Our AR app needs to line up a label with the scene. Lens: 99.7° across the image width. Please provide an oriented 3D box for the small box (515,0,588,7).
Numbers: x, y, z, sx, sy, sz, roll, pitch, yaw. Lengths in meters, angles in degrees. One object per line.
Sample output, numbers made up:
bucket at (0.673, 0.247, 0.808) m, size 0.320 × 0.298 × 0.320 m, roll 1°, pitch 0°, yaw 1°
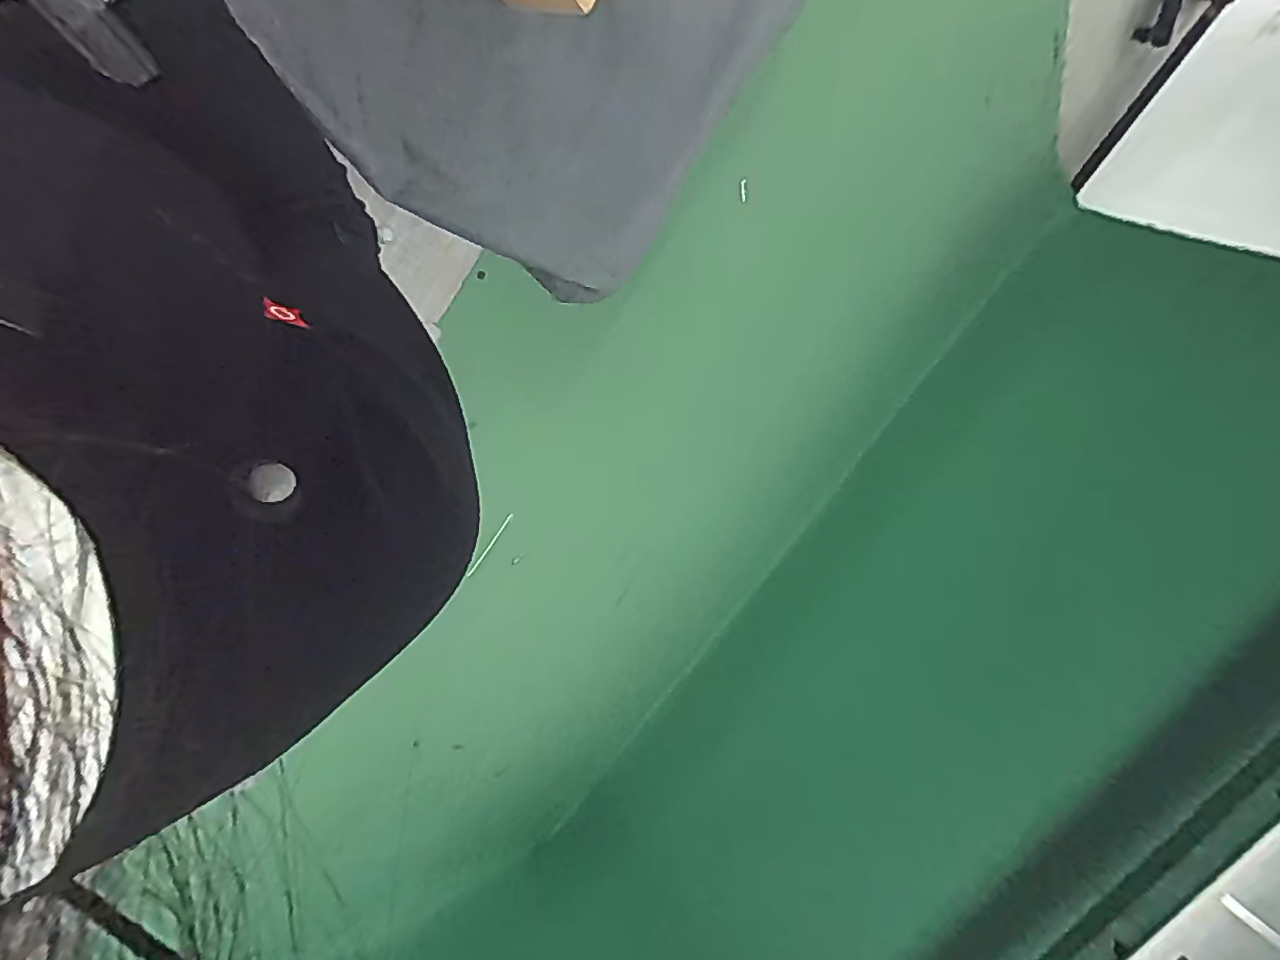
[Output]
small box at (-0.101, -0.582, 0.485) m, size 0.168 × 0.176 × 0.179 m, roll 21°, pitch 107°, yaw -51°
